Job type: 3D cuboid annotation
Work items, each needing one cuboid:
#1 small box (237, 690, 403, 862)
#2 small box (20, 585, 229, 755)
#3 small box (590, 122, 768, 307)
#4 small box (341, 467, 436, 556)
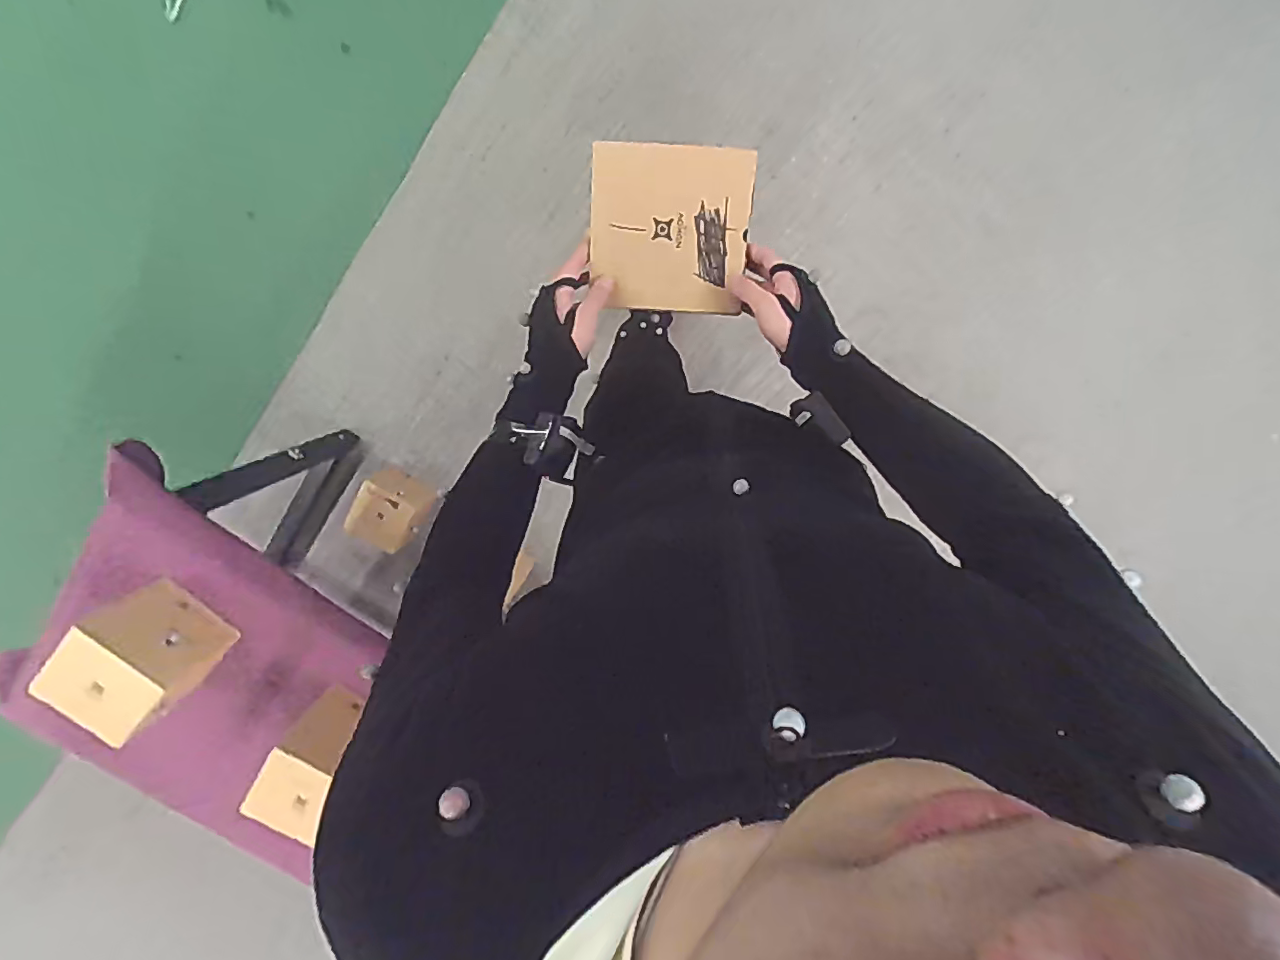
[{"bbox_3d":[-0.560,0.521,0.969,0.168,0.176,0.179,33,106,-8],"label":"small box"},{"bbox_3d":[-0.857,0.313,0.921,0.168,0.176,0.179,44,105,-11],"label":"small box"},{"bbox_3d":[0.037,-0.299,0.643,0.179,0.176,0.168,4,108,-1],"label":"small box"},{"bbox_3d":[-0.737,0.088,1.605,0.168,0.176,0.179,31,106,-6],"label":"small box"}]
